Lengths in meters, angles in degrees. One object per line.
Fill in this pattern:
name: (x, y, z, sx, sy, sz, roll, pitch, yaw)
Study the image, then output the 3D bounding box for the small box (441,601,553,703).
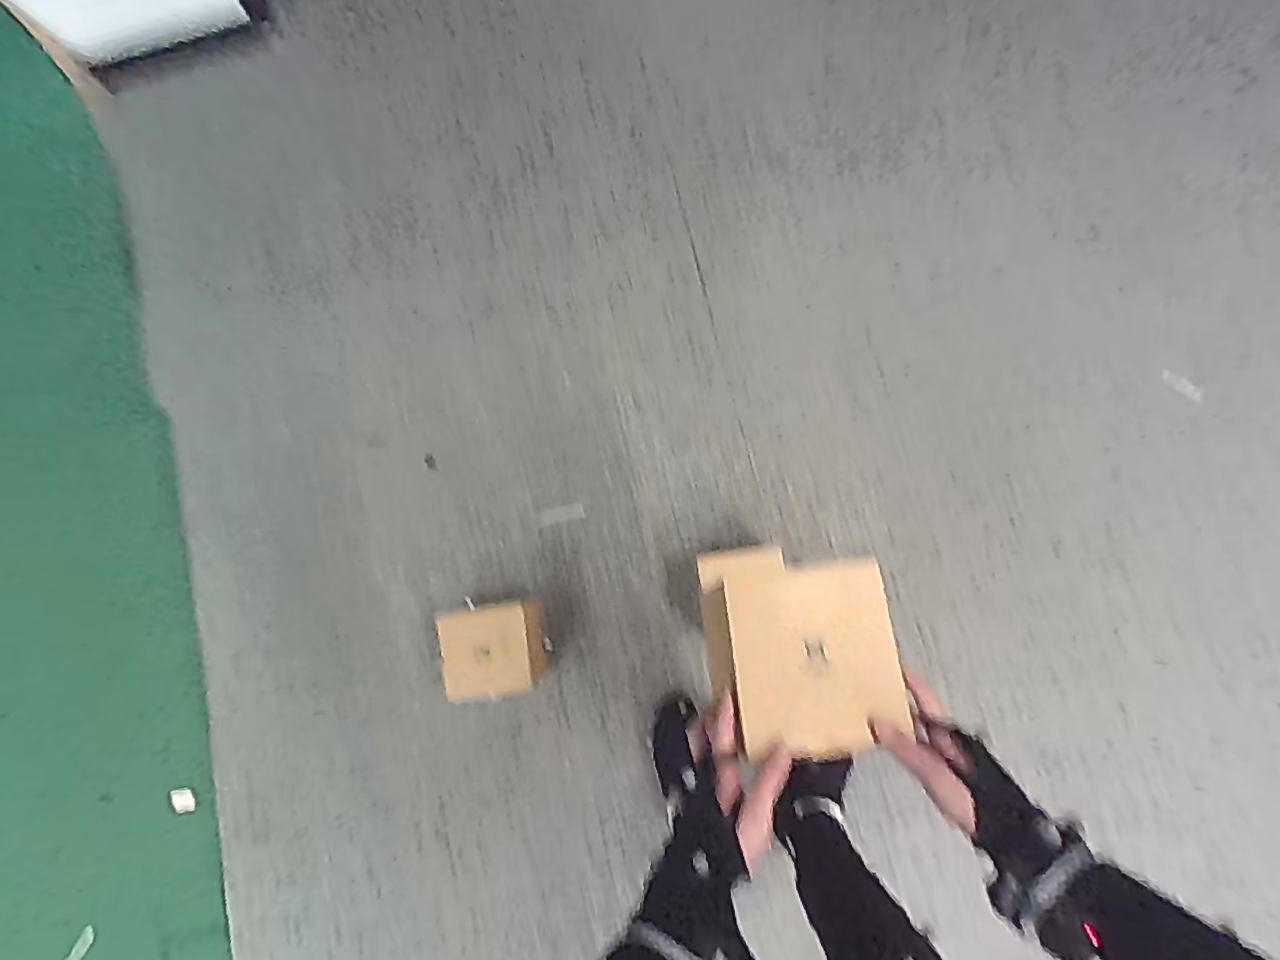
small box: (-0.291, 0.351, 1.126, 0.179, 0.176, 0.168, -8, 83, 2)

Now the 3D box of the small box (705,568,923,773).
small box: (0.171, 0.200, 0.596, 0.168, 0.176, 0.179, -5, 75, -3)

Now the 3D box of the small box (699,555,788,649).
small box: (0.208, 0.243, 1.108, 0.168, 0.176, 0.179, -2, 83, 5)
